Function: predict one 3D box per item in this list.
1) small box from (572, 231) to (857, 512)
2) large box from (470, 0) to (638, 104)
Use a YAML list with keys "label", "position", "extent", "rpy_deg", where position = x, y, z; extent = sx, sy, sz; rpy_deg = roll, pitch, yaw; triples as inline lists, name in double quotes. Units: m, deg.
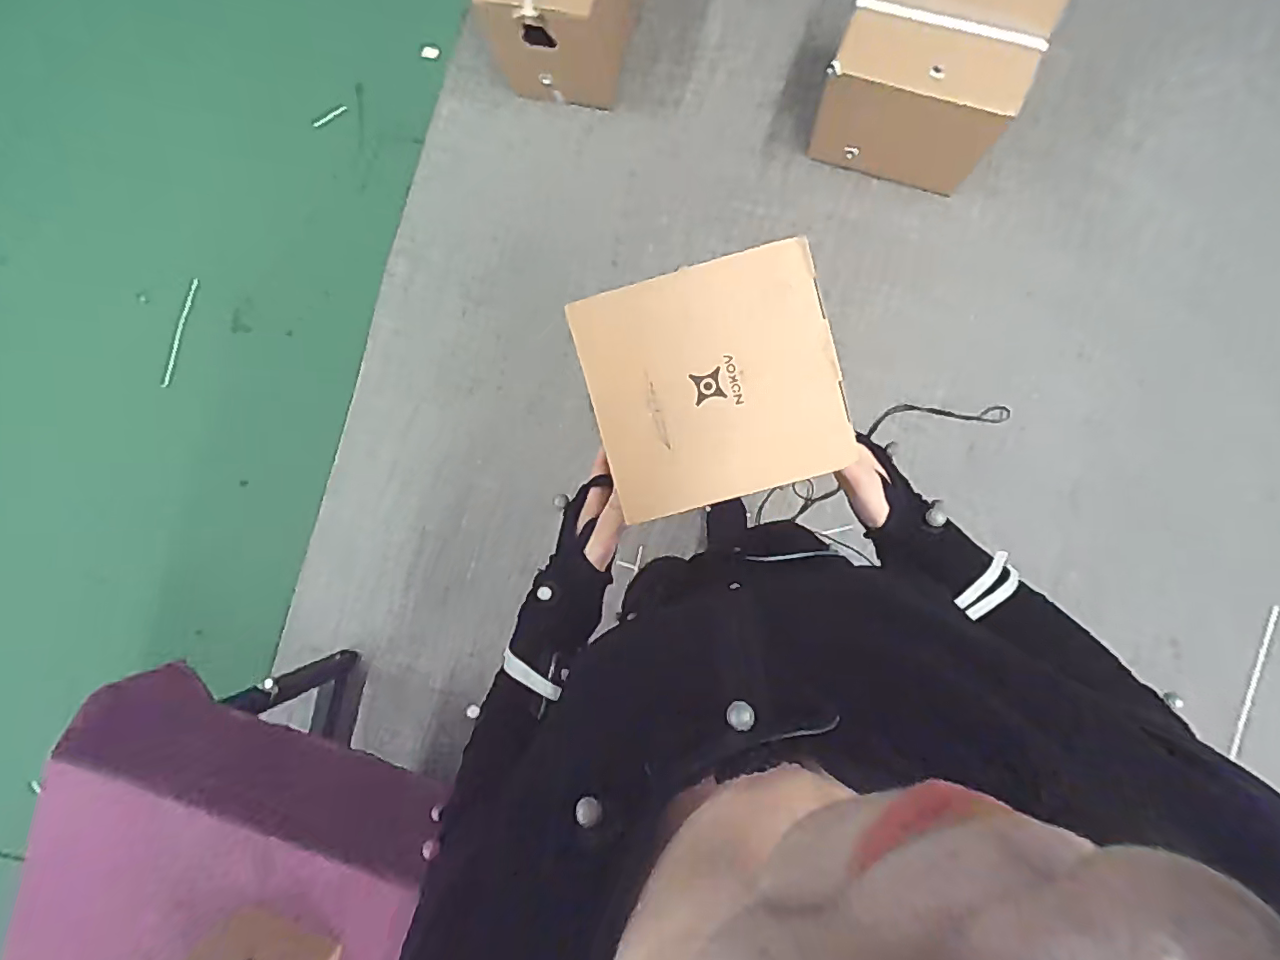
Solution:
- label: "small box"
  position: [0.056, -0.083, 0.461]
  extent: [0.179, 0.176, 0.168]
  rpy_deg: [-14, 95, 4]
- label: "large box"
  position: [-0.203, -1.314, 1.442]
  extent: [0.320, 0.320, 0.408]
  rpy_deg: [15, 89, 8]
